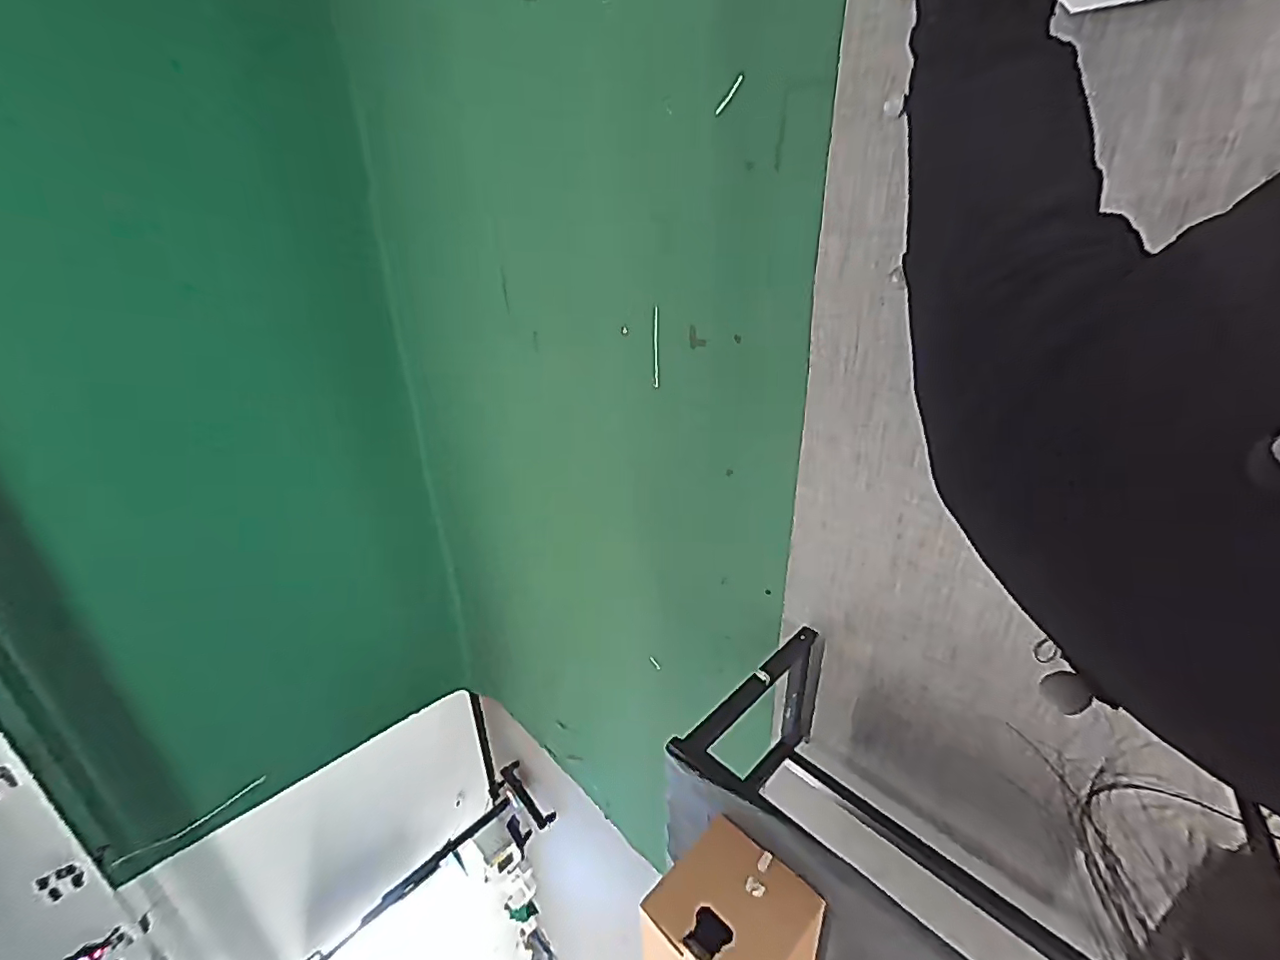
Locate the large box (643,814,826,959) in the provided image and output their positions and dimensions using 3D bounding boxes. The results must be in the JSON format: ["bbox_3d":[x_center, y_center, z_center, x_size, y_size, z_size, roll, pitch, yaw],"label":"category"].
[{"bbox_3d":[0.231,1.144,1.323,0.320,0.320,0.408,21,124,42],"label":"large box"}]
